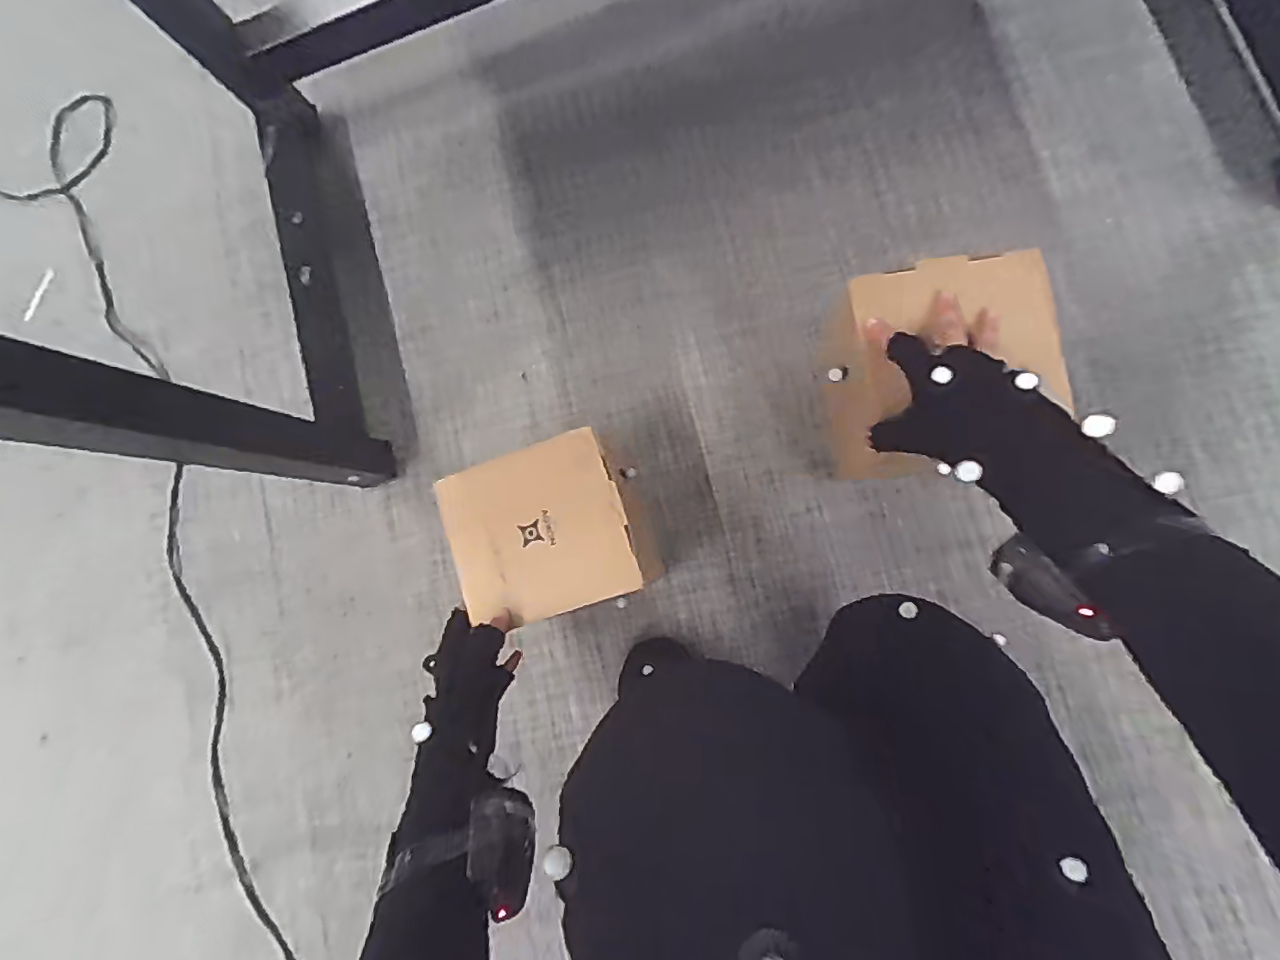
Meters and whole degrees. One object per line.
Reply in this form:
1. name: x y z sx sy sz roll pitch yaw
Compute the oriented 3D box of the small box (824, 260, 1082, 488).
1. small box: 0.296 -0.093 0.554 0.168 0.176 0.179 -6 83 8
